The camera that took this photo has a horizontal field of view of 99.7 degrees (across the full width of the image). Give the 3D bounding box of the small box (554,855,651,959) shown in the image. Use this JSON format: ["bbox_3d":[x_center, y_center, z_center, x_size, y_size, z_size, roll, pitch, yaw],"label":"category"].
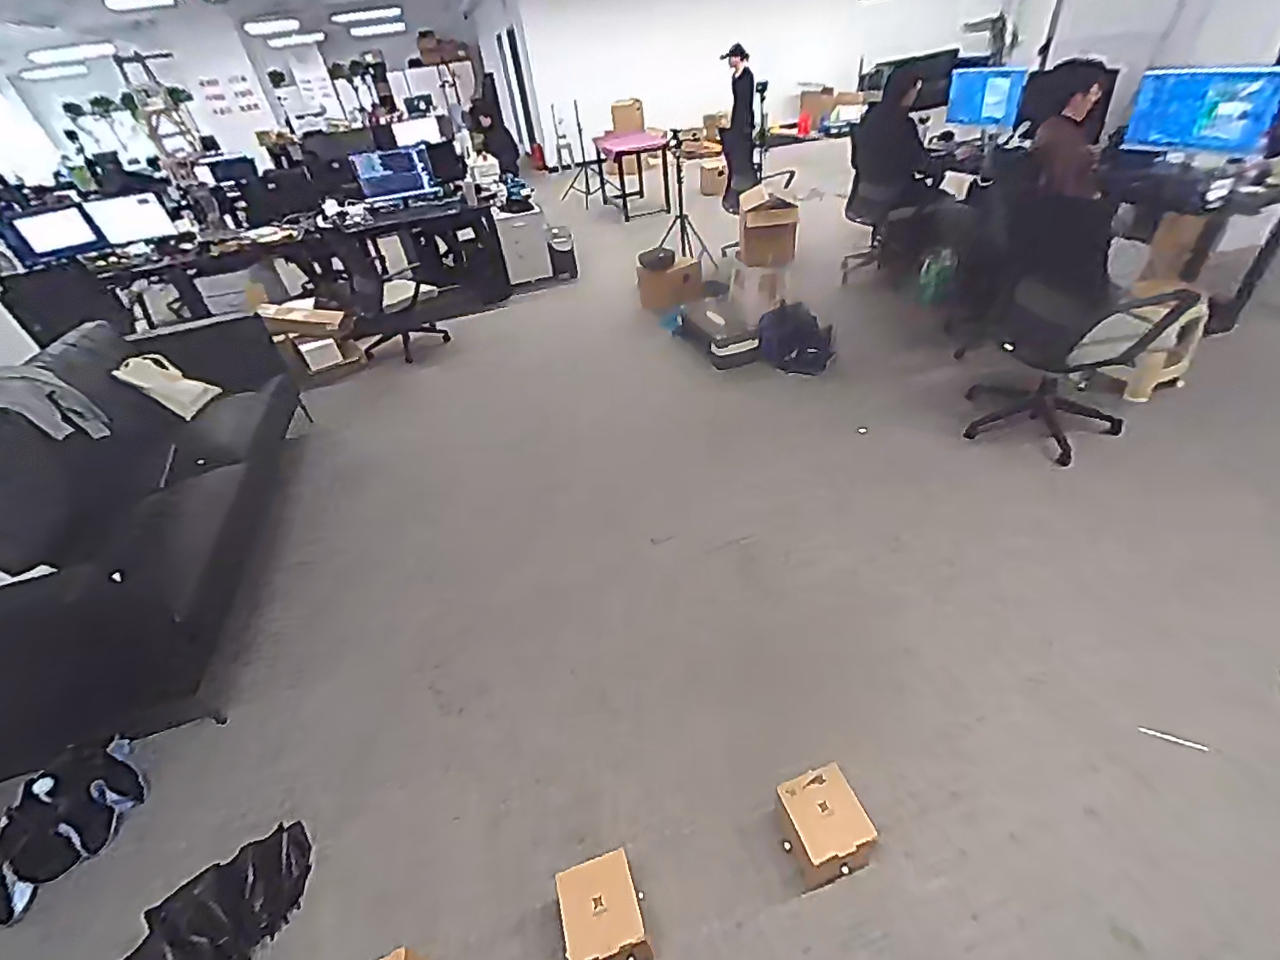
[{"bbox_3d":[-0.082,0.994,1.210,0.168,0.176,0.179,-16,36,-11],"label":"small box"}]

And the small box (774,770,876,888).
[{"bbox_3d":[0.436,0.845,1.301,0.168,0.176,0.179,-16,38,-9],"label":"small box"}]
